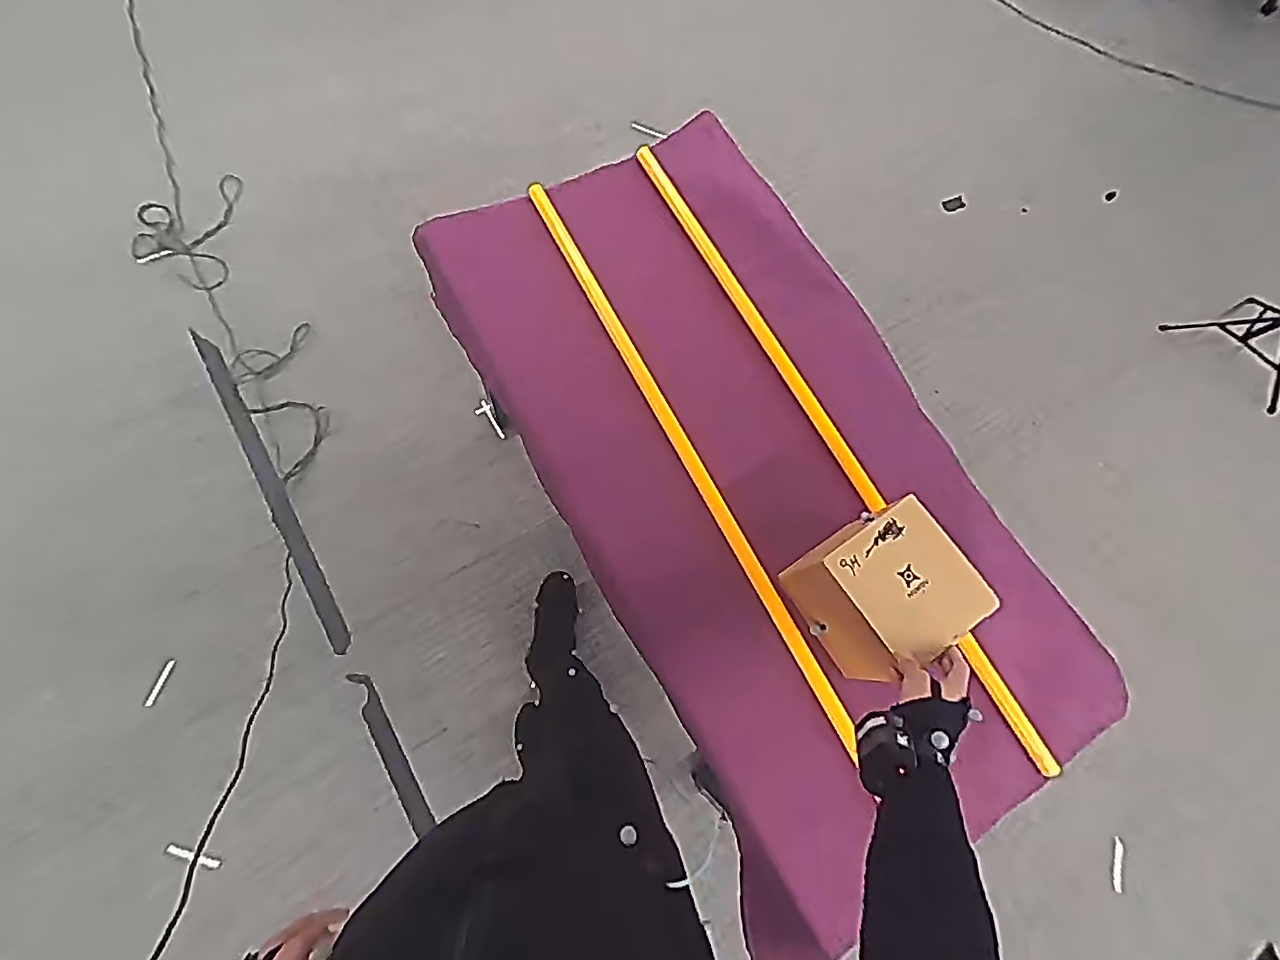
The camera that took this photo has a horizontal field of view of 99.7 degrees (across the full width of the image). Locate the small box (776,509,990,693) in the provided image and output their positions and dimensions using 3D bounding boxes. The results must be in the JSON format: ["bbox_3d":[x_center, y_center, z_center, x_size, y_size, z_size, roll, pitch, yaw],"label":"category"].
[{"bbox_3d":[0.325,0.168,0.757,0.168,0.176,0.179,-31,79,-15],"label":"small box"}]
